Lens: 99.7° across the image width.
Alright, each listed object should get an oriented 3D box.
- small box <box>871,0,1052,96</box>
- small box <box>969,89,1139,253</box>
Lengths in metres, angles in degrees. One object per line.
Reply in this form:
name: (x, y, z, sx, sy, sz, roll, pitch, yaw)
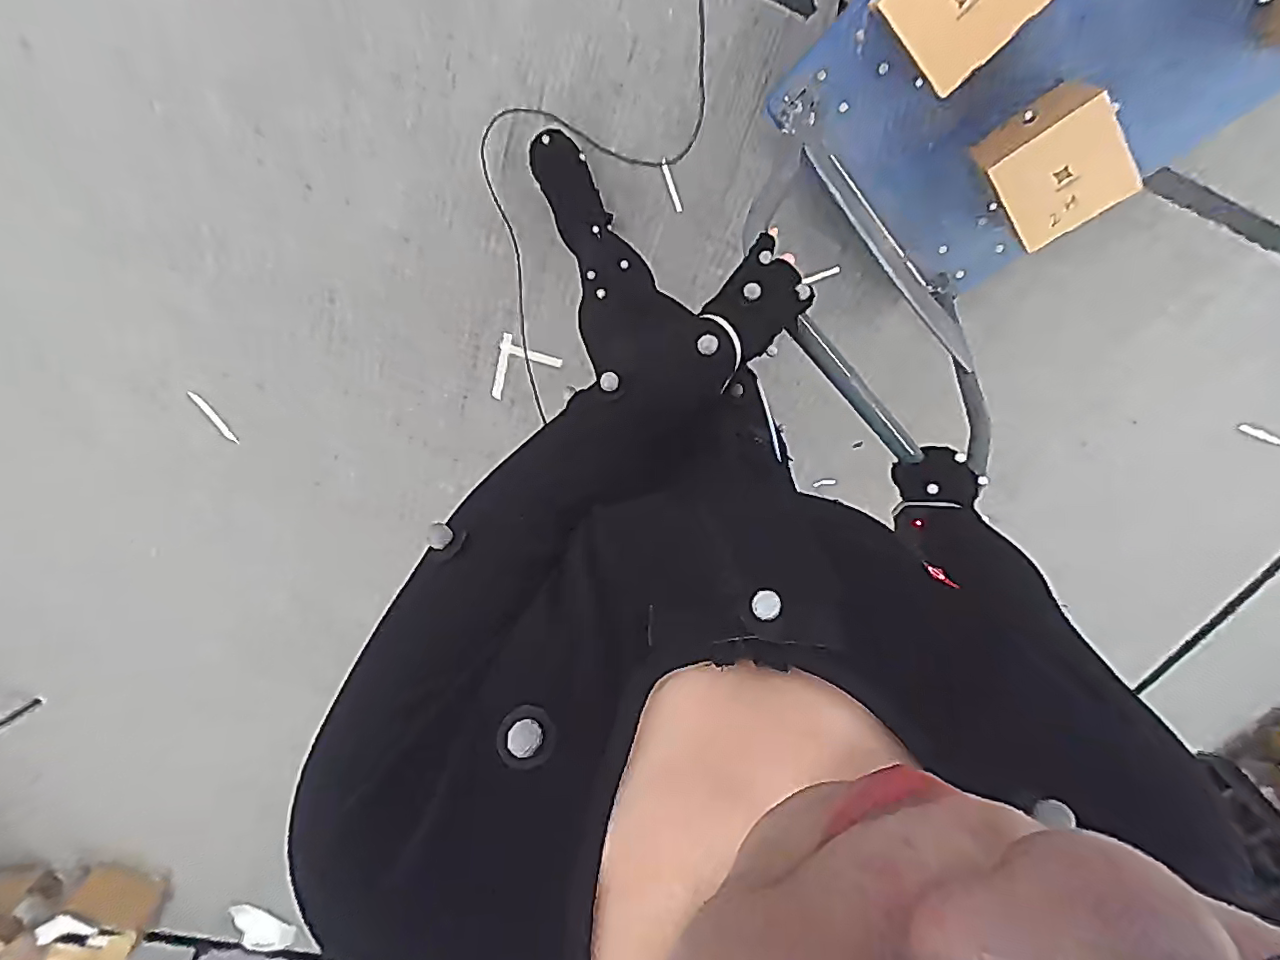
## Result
small box: (0.479, -0.737, 0.828, 0.179, 0.176, 0.168, 38, 130, -19)
small box: (0.702, -0.537, 0.935, 0.168, 0.176, 0.179, -29, 117, 35)
